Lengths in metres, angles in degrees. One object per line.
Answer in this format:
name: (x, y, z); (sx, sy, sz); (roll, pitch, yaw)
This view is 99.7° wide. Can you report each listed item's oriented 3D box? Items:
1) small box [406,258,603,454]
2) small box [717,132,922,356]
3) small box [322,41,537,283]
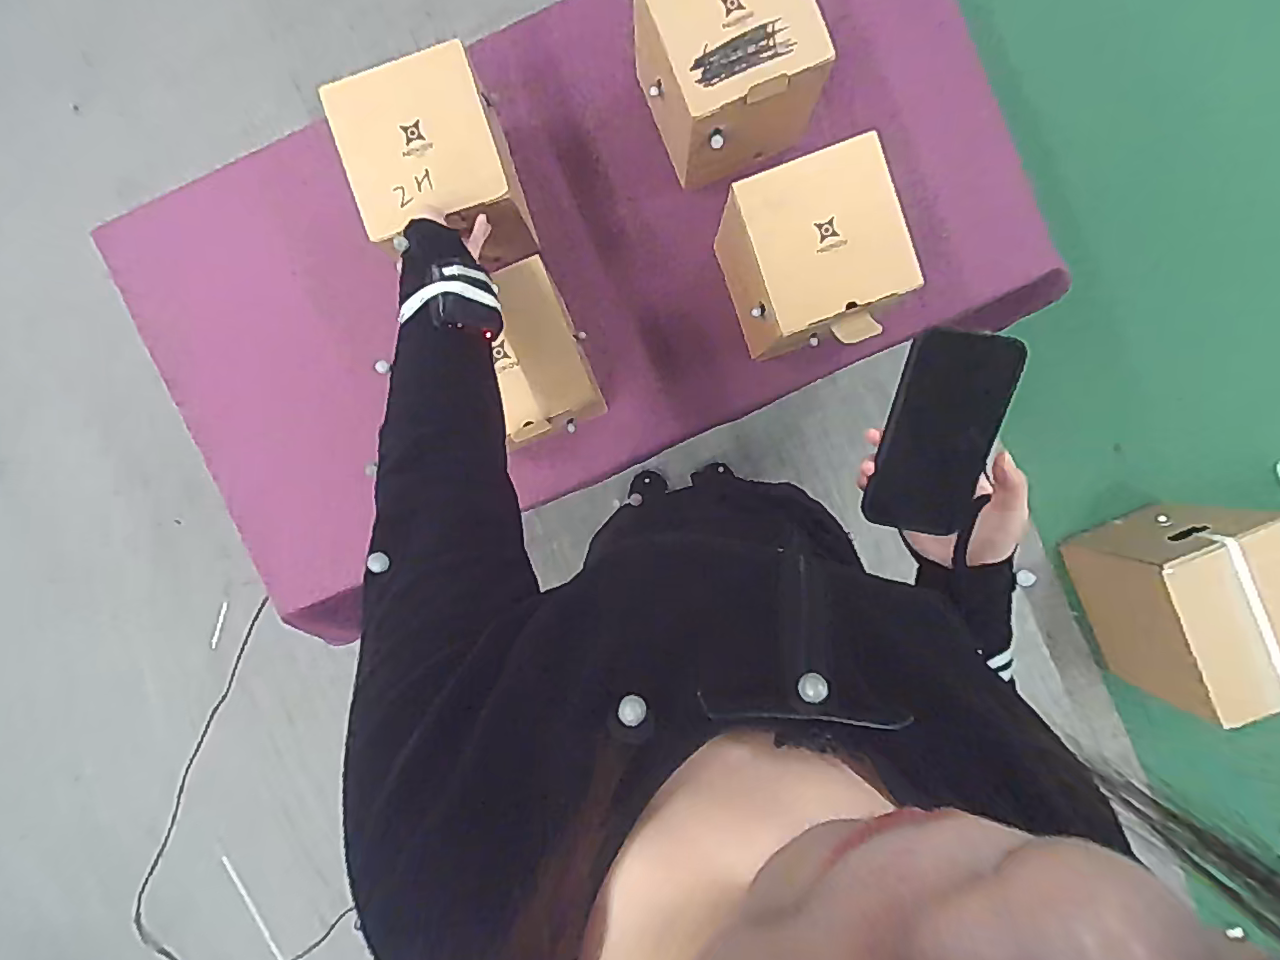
small box: (-0.154, -0.142, 0.681); (0.168, 0.176, 0.179); (-22, 92, 2)
small box: (0.203, -0.271, 0.664); (0.168, 0.176, 0.179); (-20, 93, 3)
small box: (-0.243, -0.372, 0.667); (0.168, 0.176, 0.179); (-17, 93, 3)
